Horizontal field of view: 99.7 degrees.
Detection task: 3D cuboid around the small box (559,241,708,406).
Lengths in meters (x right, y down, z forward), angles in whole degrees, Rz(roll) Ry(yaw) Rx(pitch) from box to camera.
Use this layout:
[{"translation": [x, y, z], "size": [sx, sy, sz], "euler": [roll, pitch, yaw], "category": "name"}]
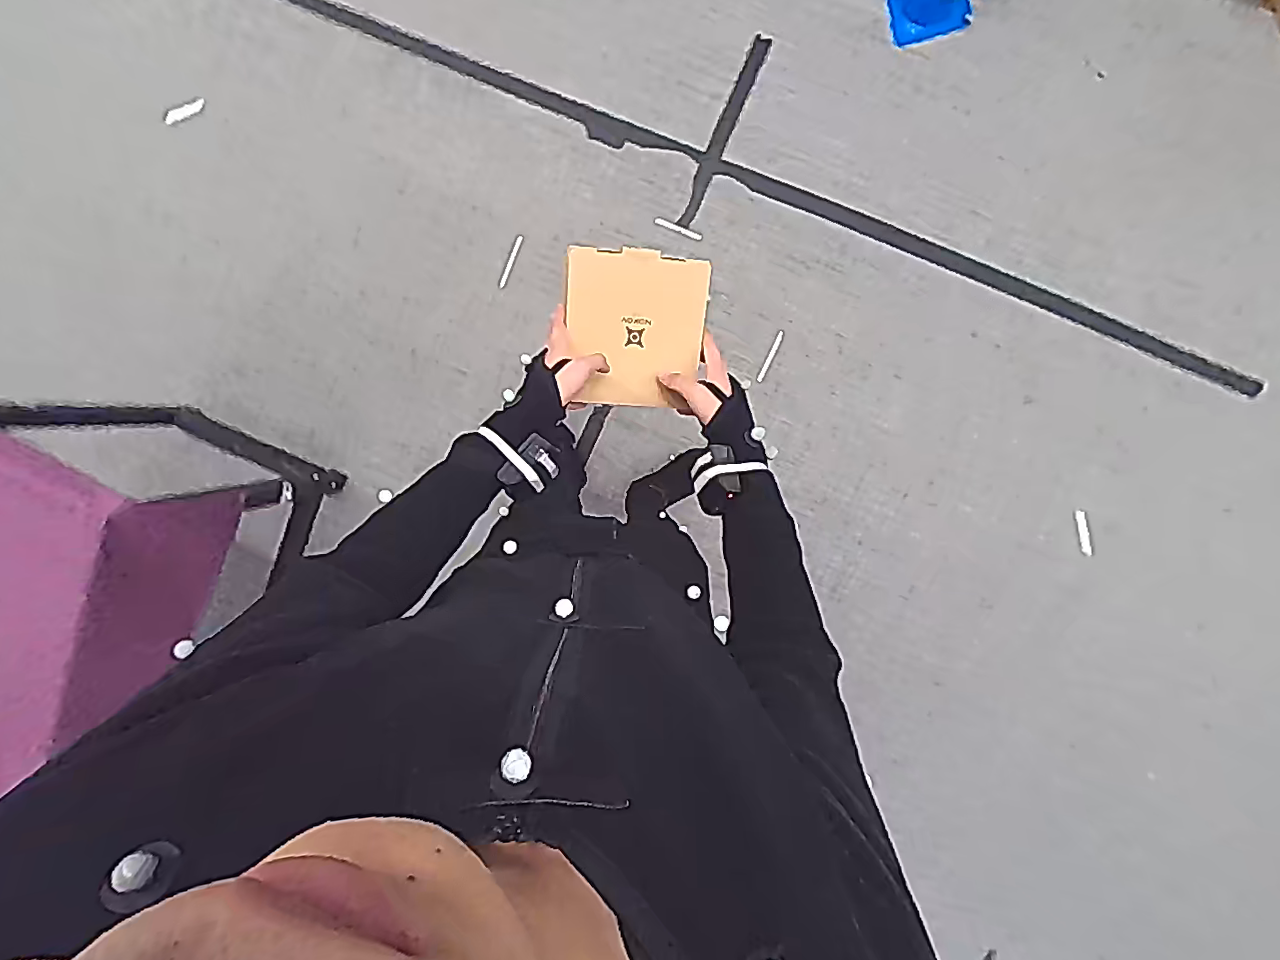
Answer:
[{"translation": [-0.020, -0.202, 0.704], "size": [0.168, 0.176, 0.179], "euler": [1, 108, -10], "category": "small box"}]
